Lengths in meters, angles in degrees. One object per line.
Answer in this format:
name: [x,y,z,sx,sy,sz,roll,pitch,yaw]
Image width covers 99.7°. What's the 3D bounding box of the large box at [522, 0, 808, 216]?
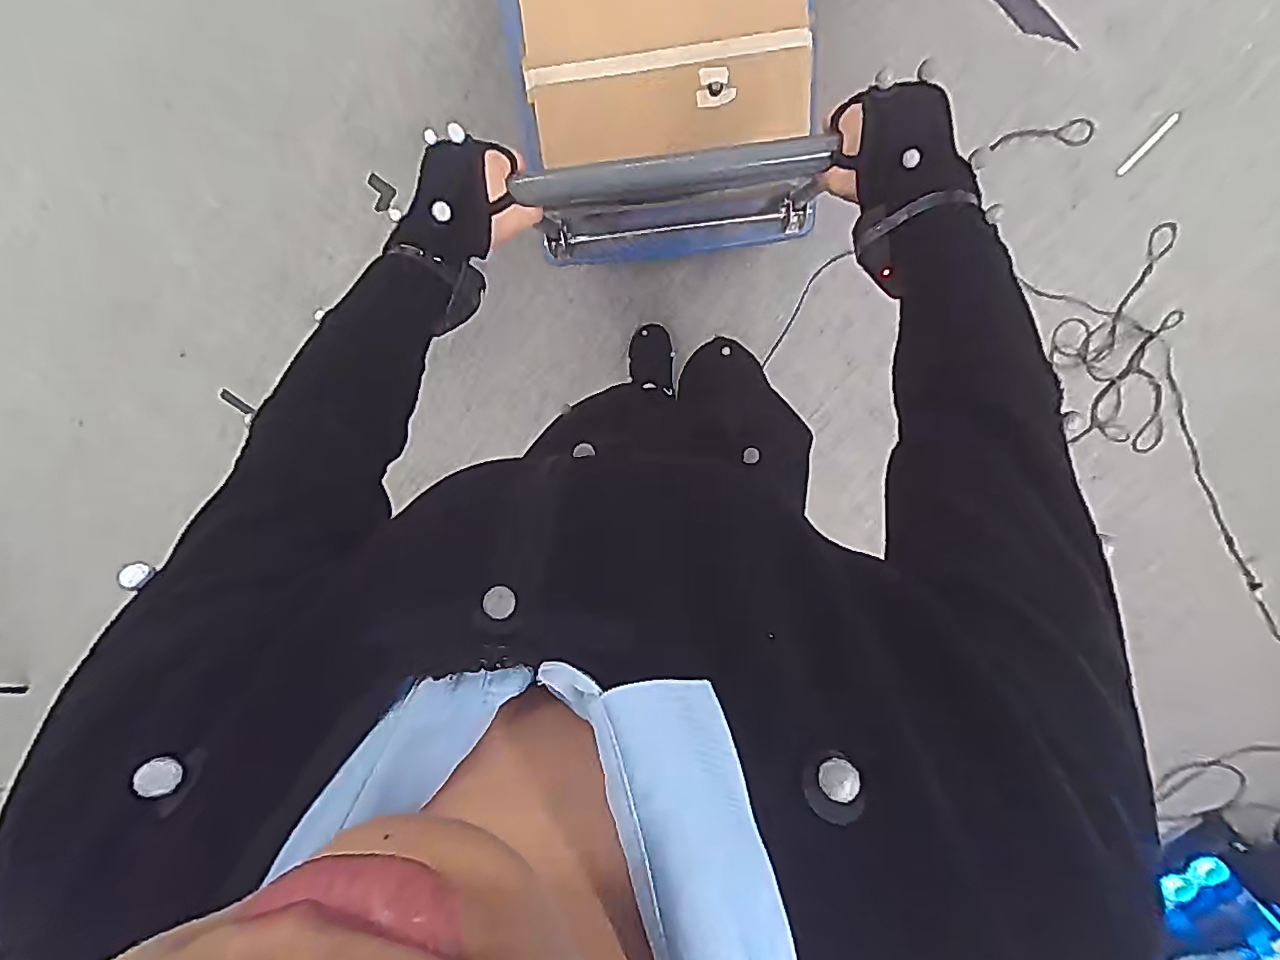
large box: [0.044,-0.660,0.923,0.408,0.320,0.320,-5,111,4]
